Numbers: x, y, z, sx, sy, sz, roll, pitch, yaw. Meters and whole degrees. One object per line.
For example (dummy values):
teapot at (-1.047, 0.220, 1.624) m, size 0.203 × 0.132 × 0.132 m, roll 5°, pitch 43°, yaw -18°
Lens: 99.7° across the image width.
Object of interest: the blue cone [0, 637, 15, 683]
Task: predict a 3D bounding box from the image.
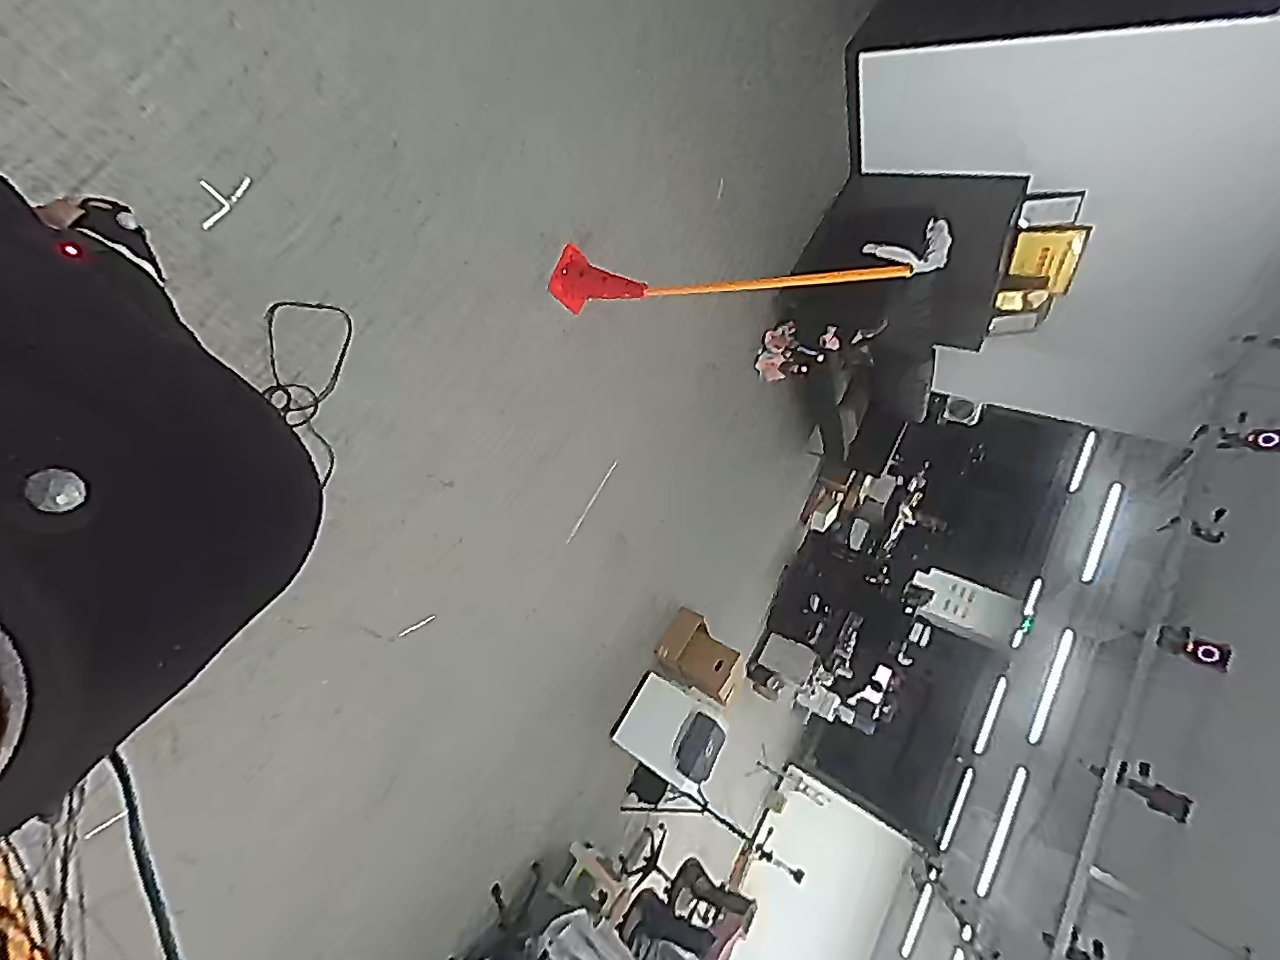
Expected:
blue cone at (-1.226, 0.415, 0.954) m, size 0.192 × 0.380 × 0.193 m, roll -25°, pitch 131°, yaw -49°
